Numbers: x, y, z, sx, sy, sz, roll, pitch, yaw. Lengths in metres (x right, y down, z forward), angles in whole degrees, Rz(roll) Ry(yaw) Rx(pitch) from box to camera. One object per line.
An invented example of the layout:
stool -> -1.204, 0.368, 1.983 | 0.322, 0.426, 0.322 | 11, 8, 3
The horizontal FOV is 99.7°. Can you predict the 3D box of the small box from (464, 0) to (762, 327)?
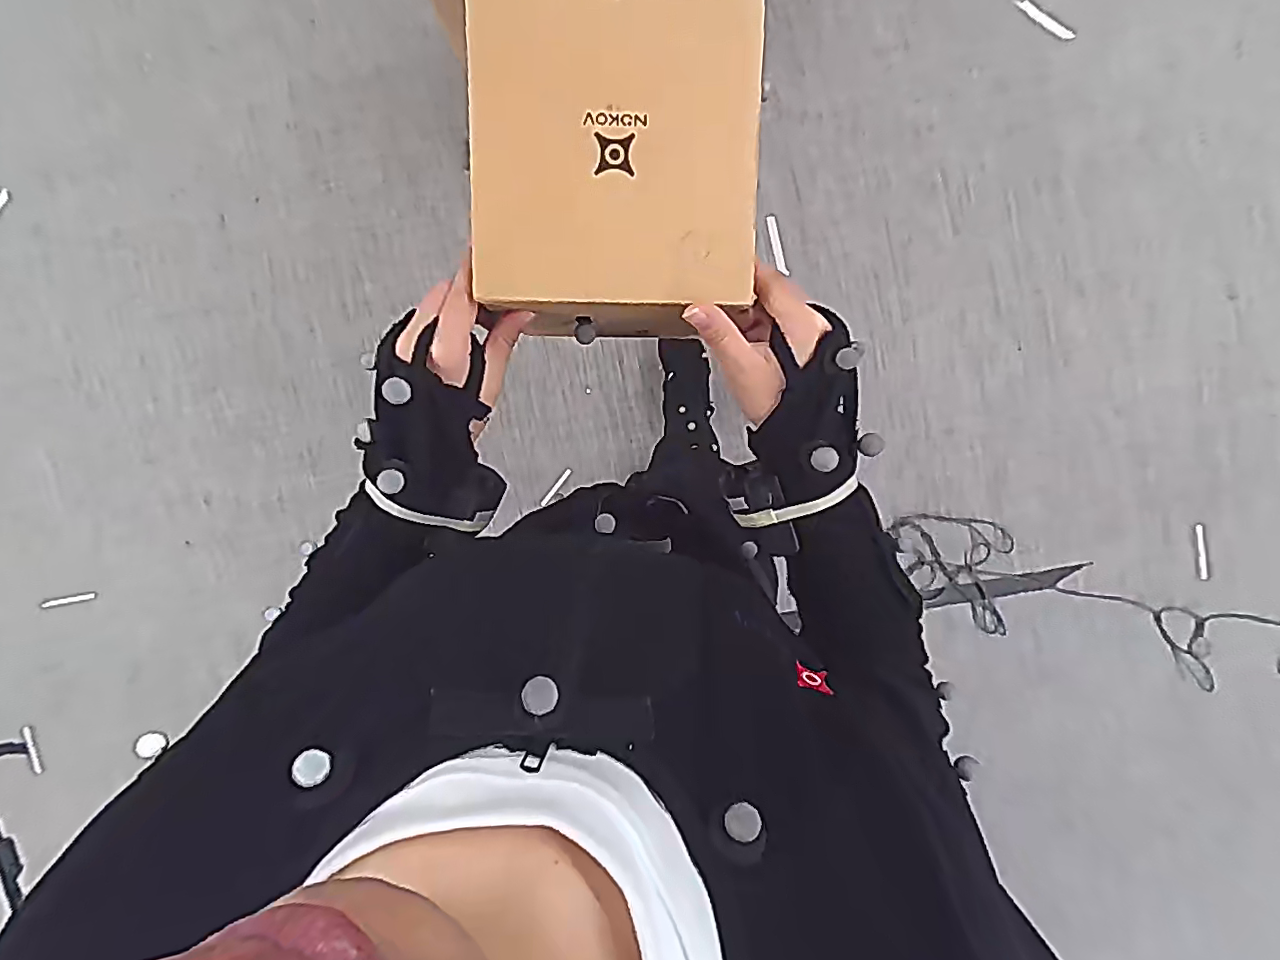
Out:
small box -> -0.016, -0.208, 0.382 | 0.168, 0.176, 0.179 | 0, 97, -1
